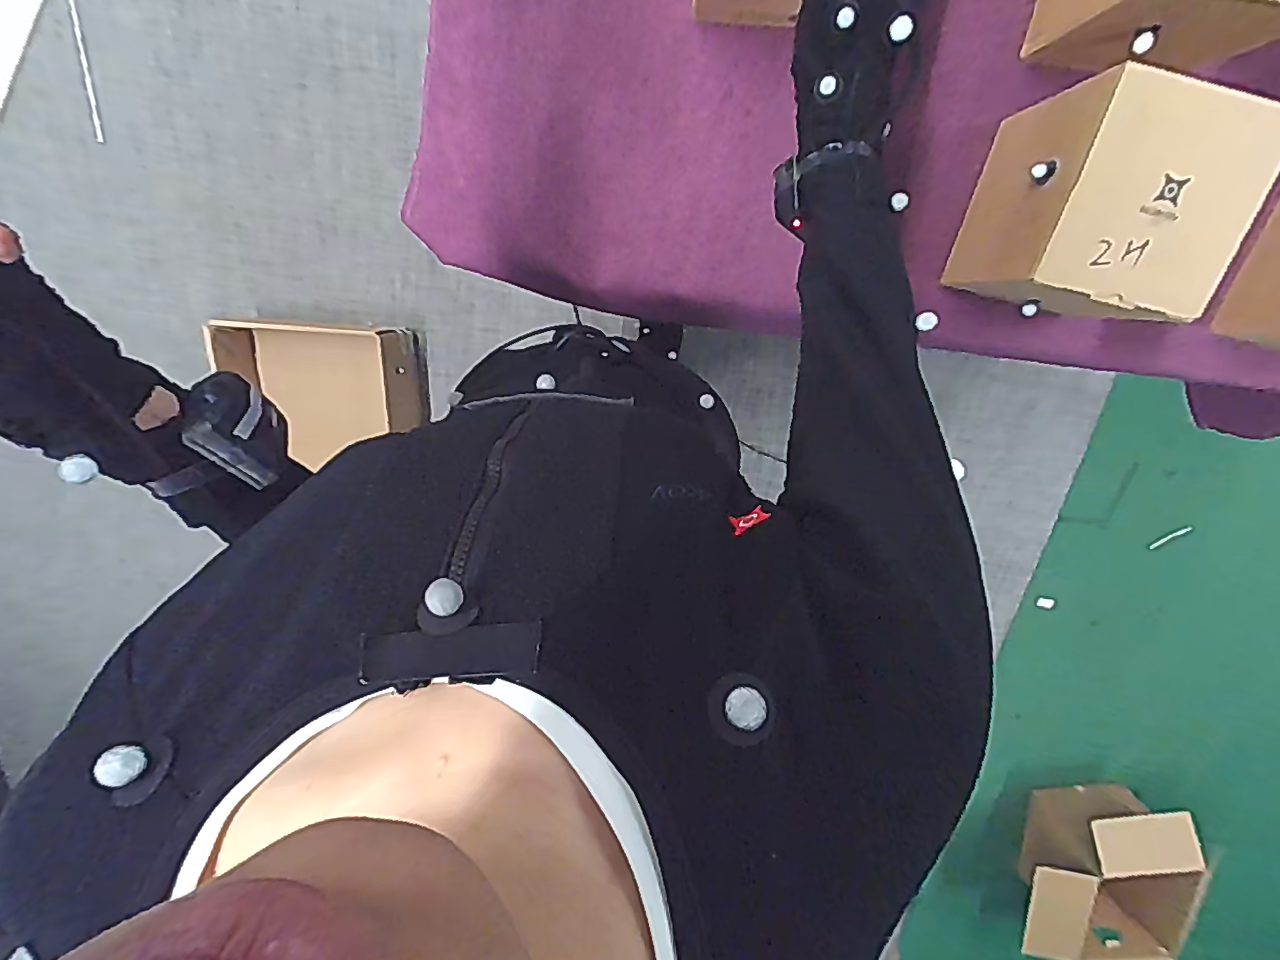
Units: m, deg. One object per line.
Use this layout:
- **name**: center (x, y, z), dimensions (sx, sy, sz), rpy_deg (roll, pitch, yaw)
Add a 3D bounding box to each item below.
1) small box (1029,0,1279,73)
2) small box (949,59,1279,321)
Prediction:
- **small box**: center (0.488, -0.483, 0.470), dimensions (0.168, 0.176, 0.179), rpy_deg (7, 109, -2)
- **small box**: center (0.453, -0.270, 0.544), dimensions (0.168, 0.176, 0.179), rpy_deg (12, 109, -3)
